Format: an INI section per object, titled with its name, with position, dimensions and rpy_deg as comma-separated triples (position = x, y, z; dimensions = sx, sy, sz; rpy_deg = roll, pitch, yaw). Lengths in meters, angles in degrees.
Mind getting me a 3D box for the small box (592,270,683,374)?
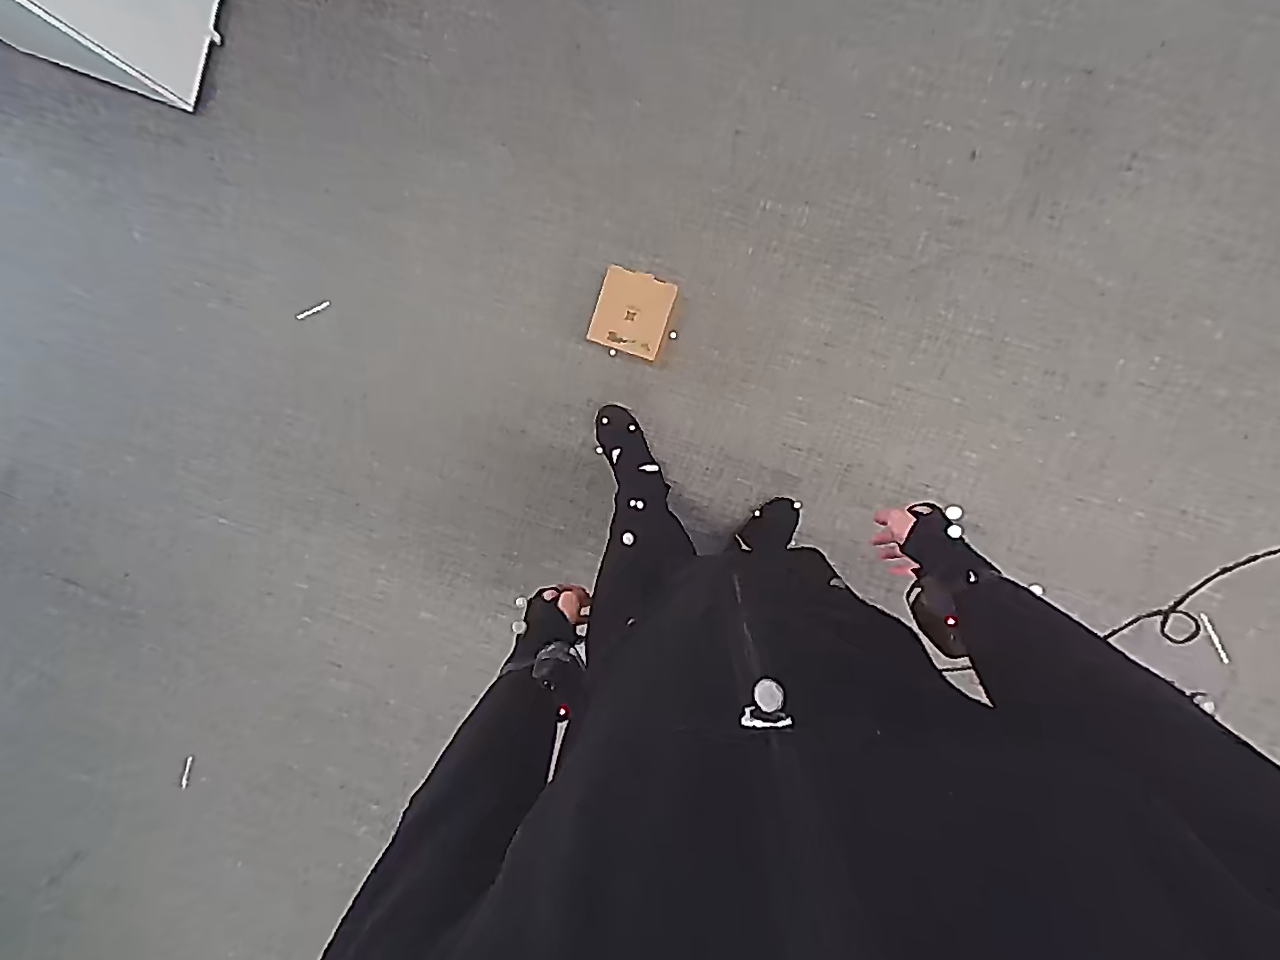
[small box]
position = -0.001, -0.371, 1.301
dimensions = 0.168, 0.176, 0.179
rpy_deg = 20, 96, 4
